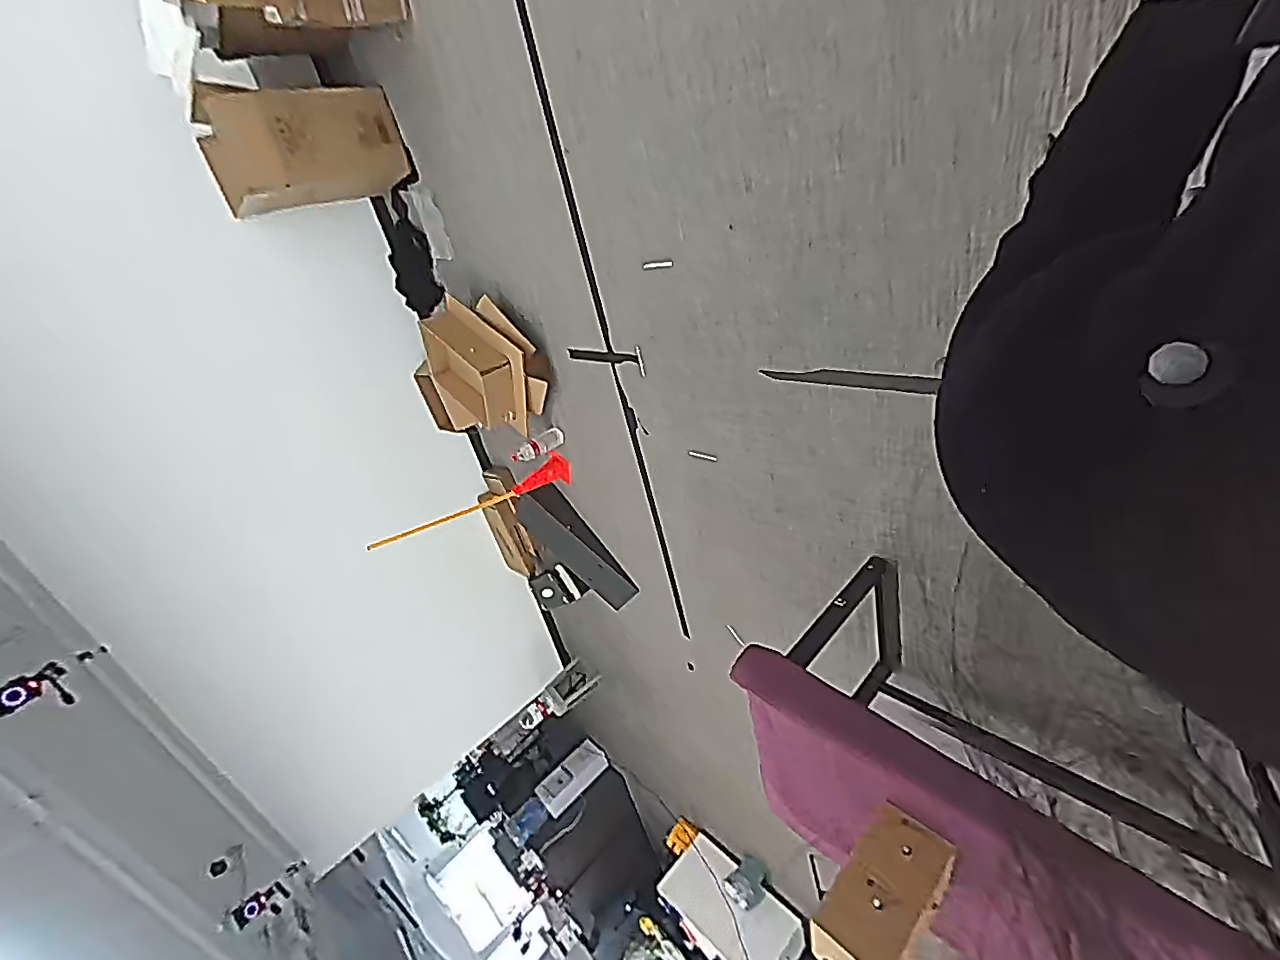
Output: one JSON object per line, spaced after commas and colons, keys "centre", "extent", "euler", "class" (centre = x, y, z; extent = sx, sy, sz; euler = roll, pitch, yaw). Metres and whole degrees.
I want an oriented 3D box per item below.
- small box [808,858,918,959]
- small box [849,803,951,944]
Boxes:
{"centre": [0.485, 0.985, 1.175], "extent": [0.168, 0.176, 0.179], "euler": [20, 132, 43], "class": "small box"}
{"centre": [0.602, 0.905, 1.259], "extent": [0.168, 0.176, 0.179], "euler": [21, 134, 43], "class": "small box"}
